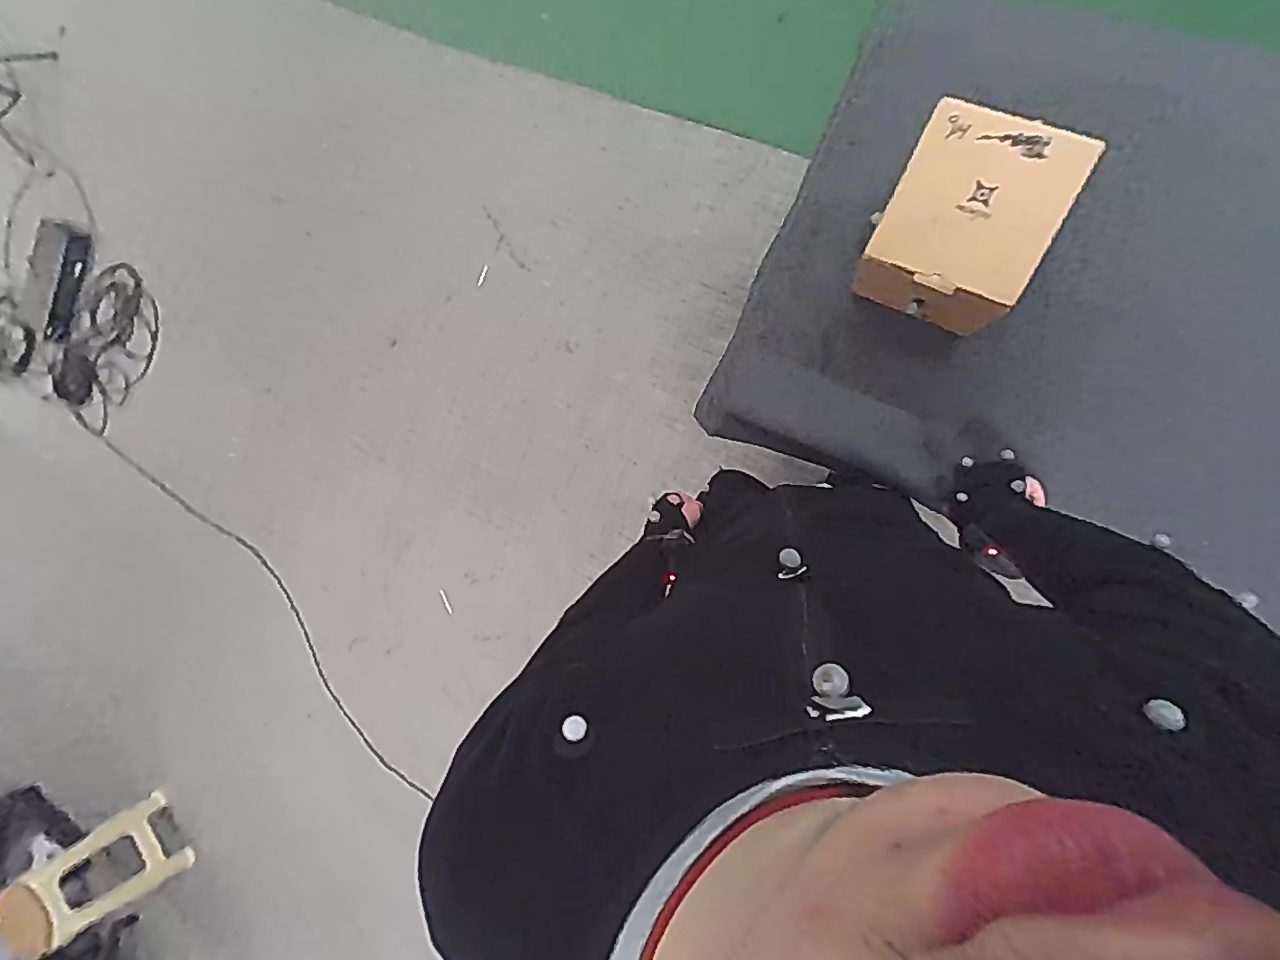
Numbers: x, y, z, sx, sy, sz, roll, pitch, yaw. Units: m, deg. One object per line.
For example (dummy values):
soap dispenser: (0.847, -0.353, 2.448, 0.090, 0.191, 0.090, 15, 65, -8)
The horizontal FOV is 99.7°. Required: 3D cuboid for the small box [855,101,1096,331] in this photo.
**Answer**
small box: (0.375, -0.297, 0.649, 0.168, 0.176, 0.179, 27, 102, 12)
